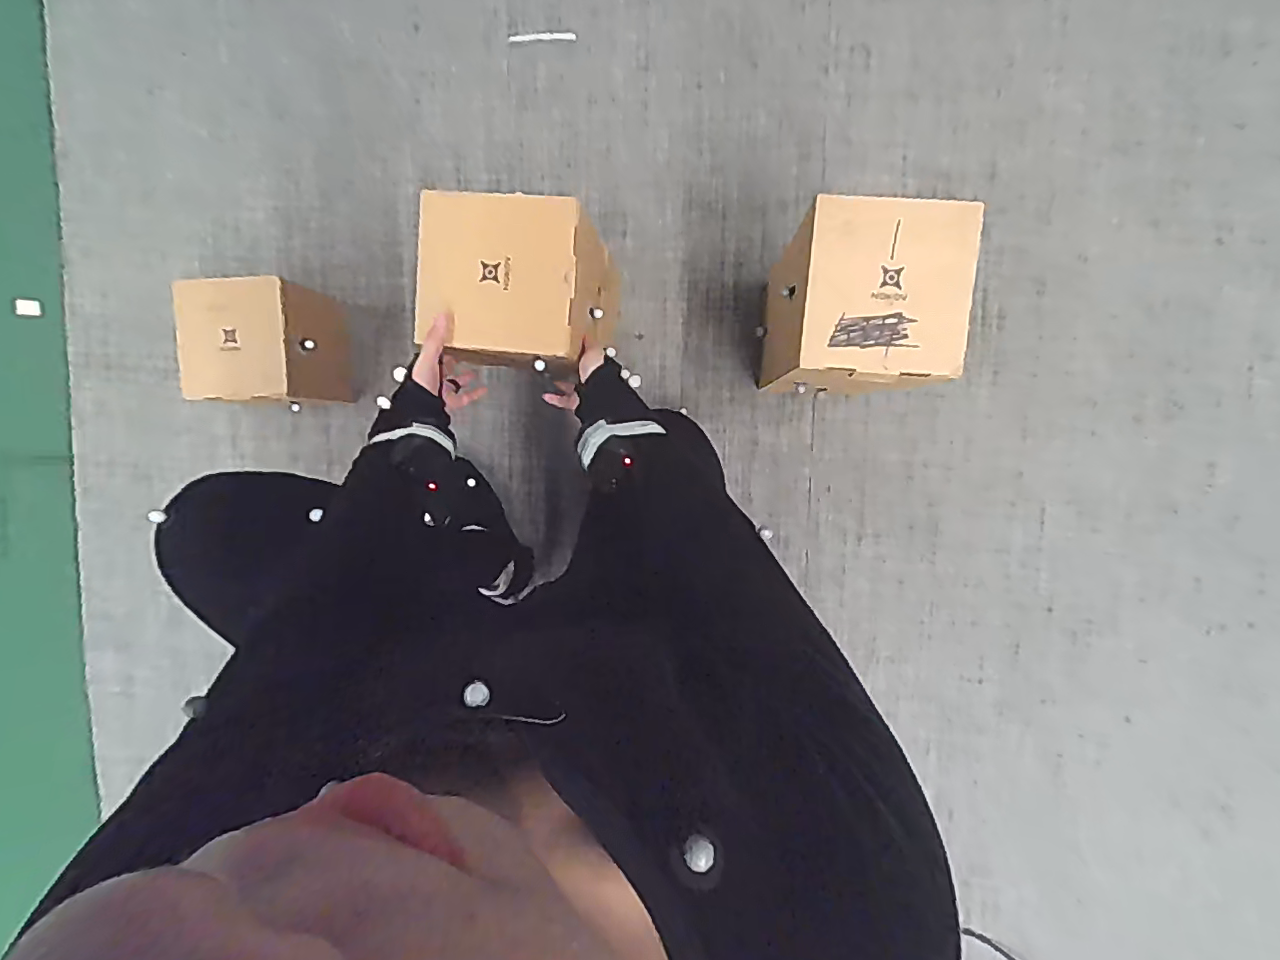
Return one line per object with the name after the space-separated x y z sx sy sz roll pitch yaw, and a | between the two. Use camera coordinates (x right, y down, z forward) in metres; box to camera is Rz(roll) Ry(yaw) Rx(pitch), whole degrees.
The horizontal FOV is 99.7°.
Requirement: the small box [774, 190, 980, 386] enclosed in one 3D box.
0.255 -0.207 0.628 0.168 0.176 0.179 5 95 4 | small box

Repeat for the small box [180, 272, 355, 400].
-0.582 -0.220 0.867 0.168 0.176 0.179 0 95 4 | small box

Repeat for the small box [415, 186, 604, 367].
-0.149 -0.235 0.663 0.179 0.176 0.168 5 95 4 | small box

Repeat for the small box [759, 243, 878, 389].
0.271 -0.228 0.791 0.168 0.176 0.179 4 96 4 | small box
